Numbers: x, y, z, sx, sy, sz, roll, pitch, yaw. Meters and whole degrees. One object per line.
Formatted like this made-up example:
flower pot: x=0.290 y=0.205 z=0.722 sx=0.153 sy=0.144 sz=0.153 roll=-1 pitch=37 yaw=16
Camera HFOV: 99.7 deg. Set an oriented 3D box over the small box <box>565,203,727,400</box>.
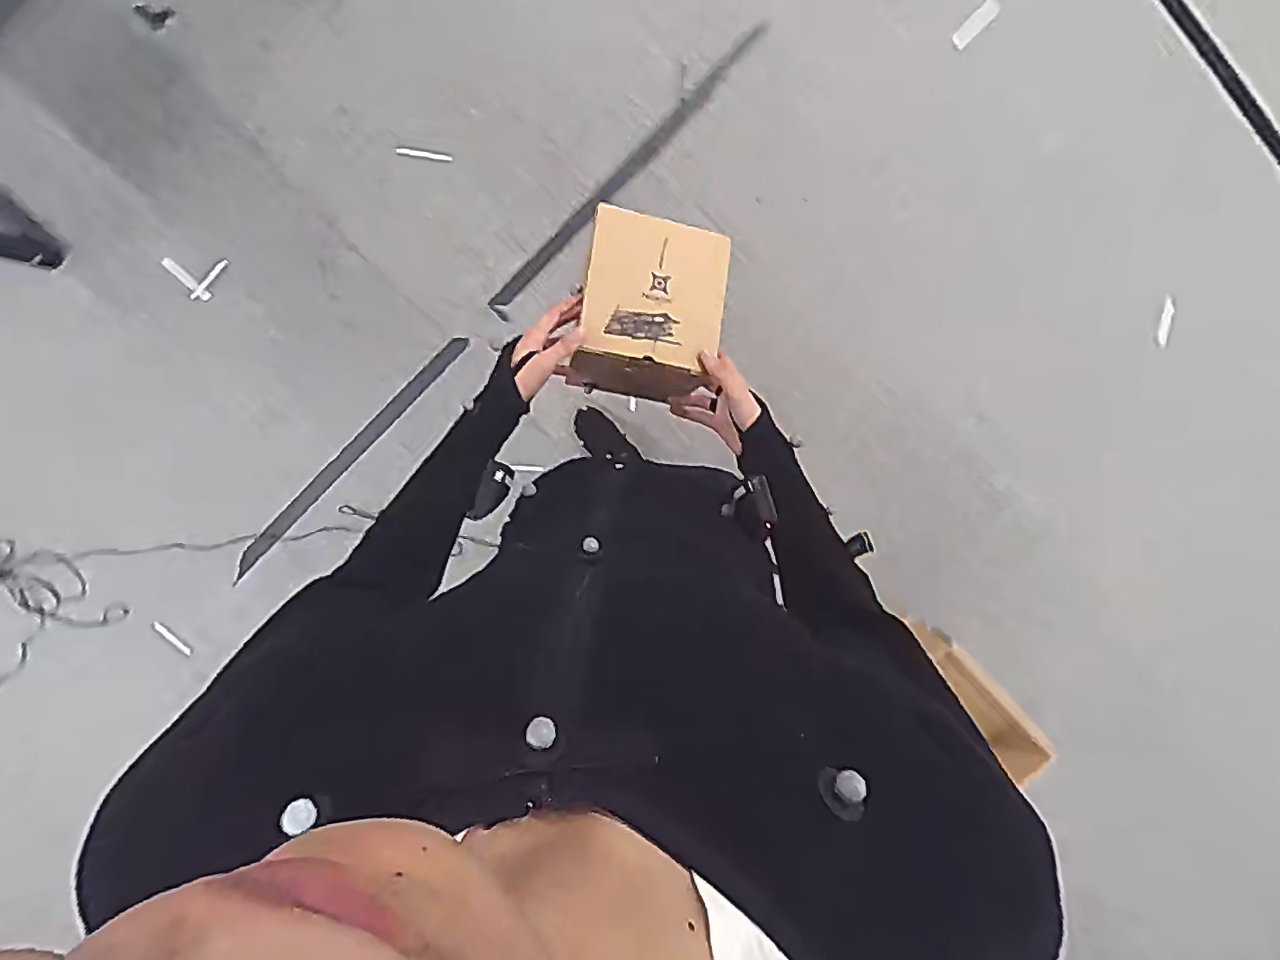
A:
small box: x=-0.002 y=-0.212 z=0.697 sx=0.168 sy=0.176 sz=0.179 roll=8 pitch=83 yaw=-12
